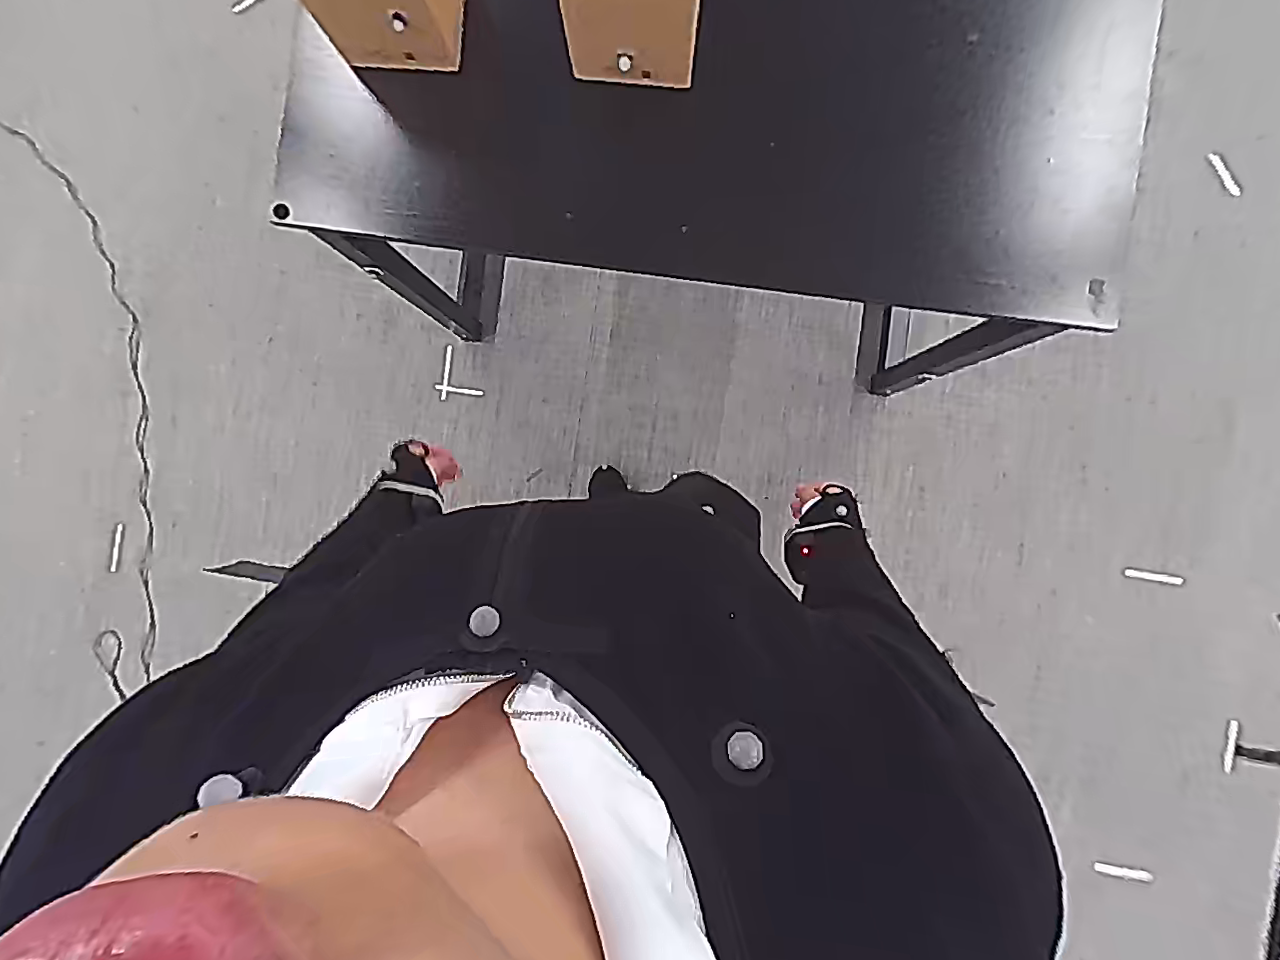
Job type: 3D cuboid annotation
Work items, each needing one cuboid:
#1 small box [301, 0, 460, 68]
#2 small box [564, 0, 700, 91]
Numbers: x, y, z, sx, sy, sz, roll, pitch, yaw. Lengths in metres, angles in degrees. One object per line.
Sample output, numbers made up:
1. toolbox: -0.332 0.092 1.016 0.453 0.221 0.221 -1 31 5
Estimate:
1. small box: -0.336 -0.670 0.688 0.168 0.176 0.179 4 90 0
2. small box: -0.005 -0.641 0.679 0.168 0.176 0.179 7 91 2
